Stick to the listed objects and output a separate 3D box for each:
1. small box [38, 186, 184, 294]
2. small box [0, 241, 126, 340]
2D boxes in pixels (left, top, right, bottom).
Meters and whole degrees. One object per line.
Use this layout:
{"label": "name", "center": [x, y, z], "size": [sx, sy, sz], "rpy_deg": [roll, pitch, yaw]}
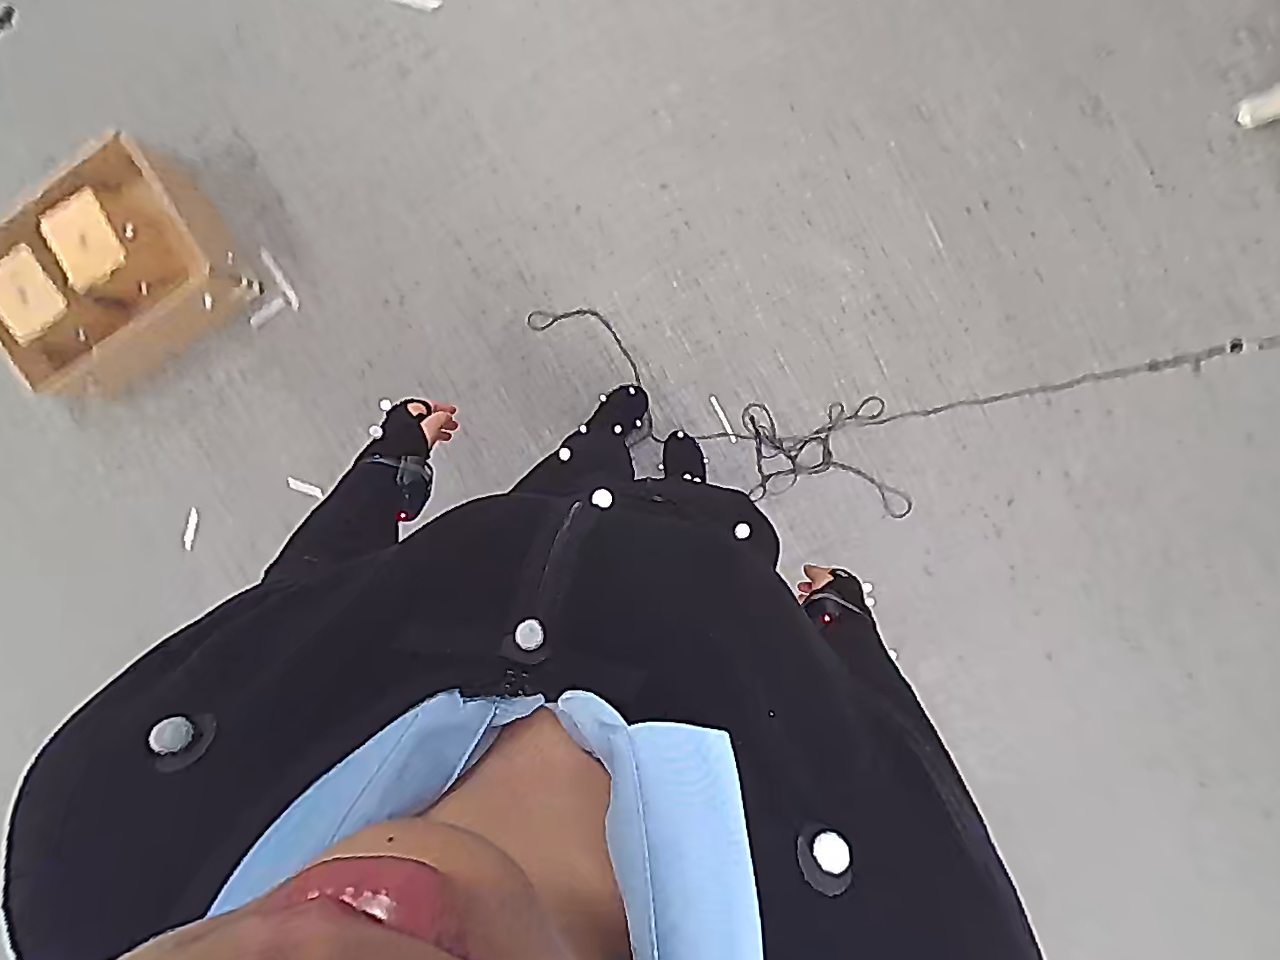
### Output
{"label": "small box", "center": [-1.329, -0.599, 1.372], "size": [0.168, 0.176, 0.179], "rpy_deg": [-23, 96, 8]}
{"label": "small box", "center": [-1.509, -0.478, 1.399], "size": [0.168, 0.176, 0.179], "rpy_deg": [-31, 95, 6]}
